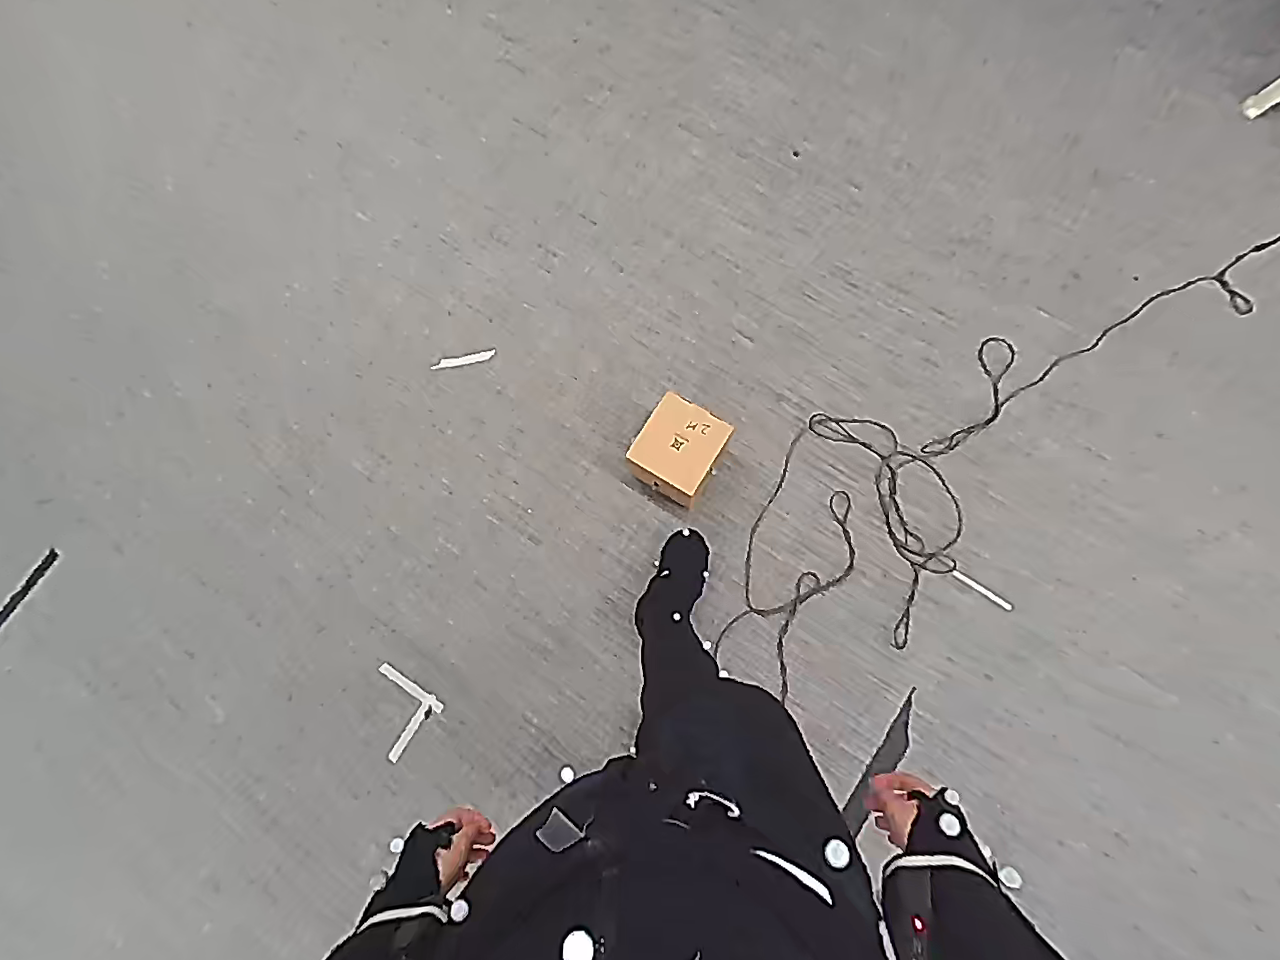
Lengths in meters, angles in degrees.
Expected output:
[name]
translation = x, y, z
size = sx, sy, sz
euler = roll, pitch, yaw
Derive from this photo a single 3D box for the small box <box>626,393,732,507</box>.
[small box]
translation = 0.088, -0.058, 1.206
size = 0.168, 0.176, 0.179
euler = 31, 81, 9
